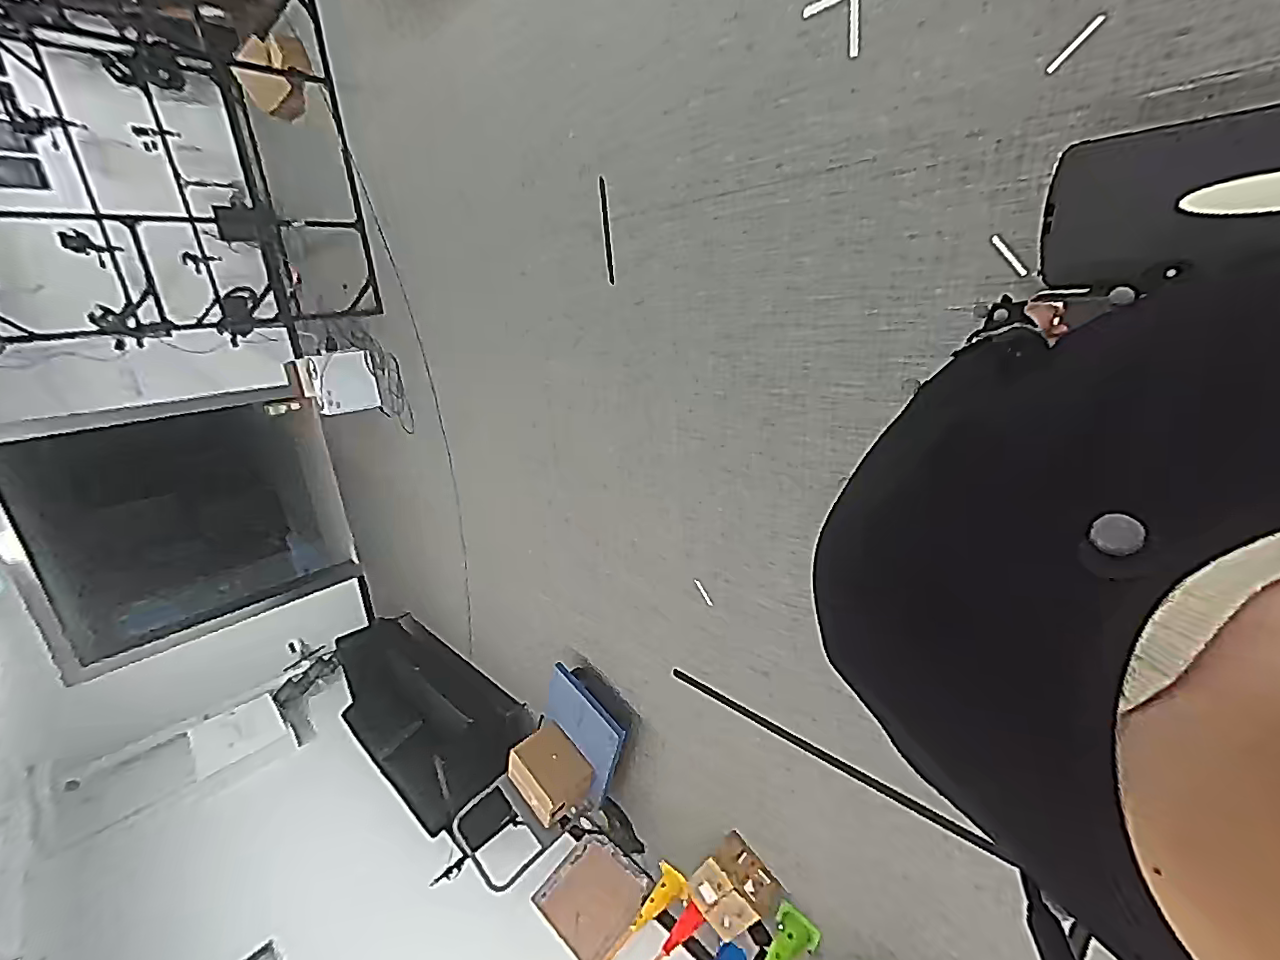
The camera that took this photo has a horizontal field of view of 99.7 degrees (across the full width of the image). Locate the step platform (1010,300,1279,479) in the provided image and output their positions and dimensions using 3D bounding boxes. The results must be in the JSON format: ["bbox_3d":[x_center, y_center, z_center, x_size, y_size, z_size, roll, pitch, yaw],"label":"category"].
[{"bbox_3d":[1.105,-0.172,1.001,0.684,0.204,0.286,21,119,43],"label":"step platform"}]
